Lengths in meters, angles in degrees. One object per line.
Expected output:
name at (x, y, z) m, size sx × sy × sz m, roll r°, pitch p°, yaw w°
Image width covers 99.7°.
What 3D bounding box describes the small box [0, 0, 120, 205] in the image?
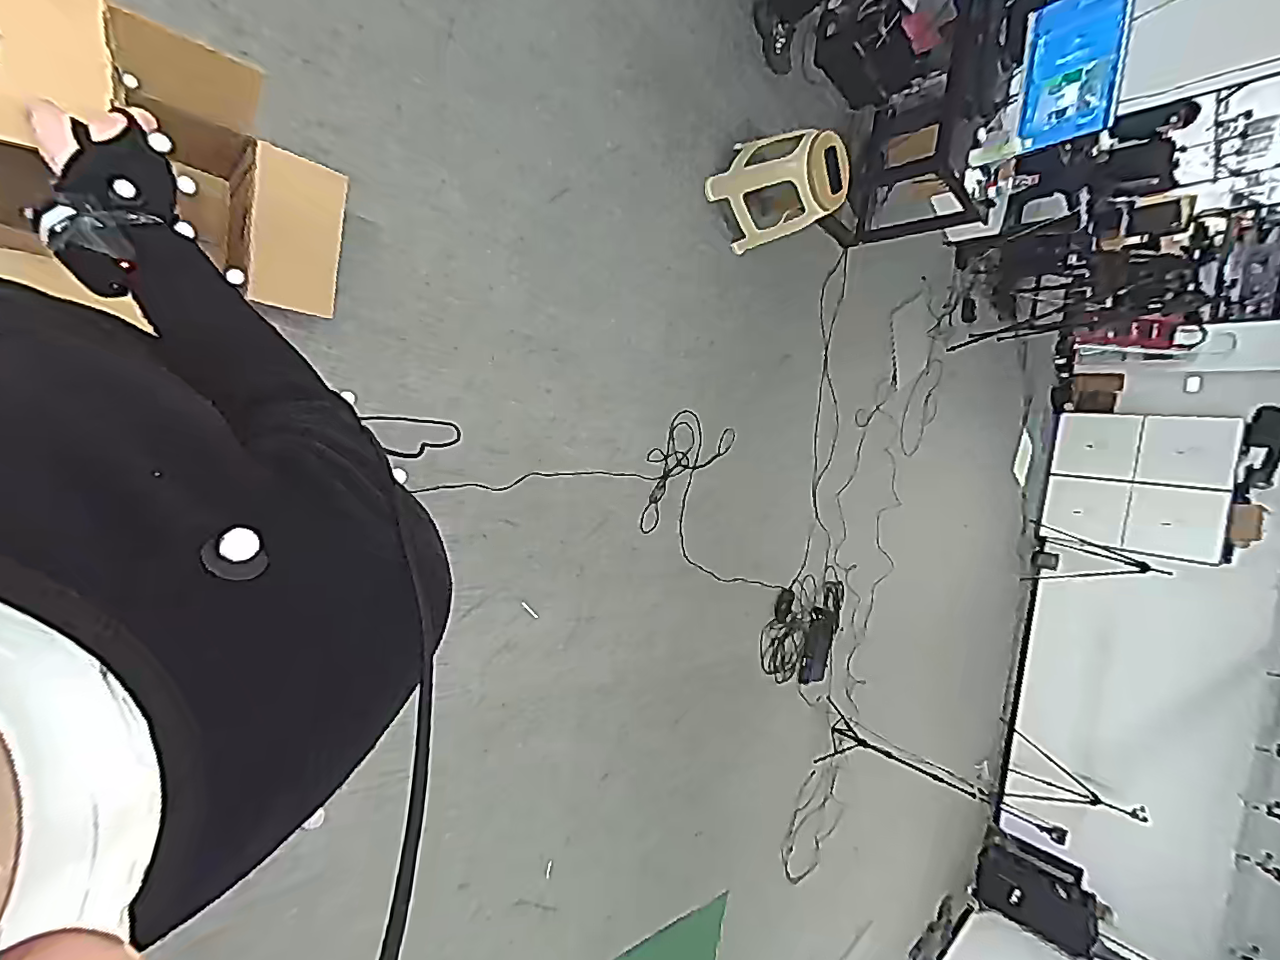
small box at (-0.583, -0.369, 0.475) m, size 0.179 × 0.176 × 0.168 m, roll -3°, pitch 92°, yaw -40°
